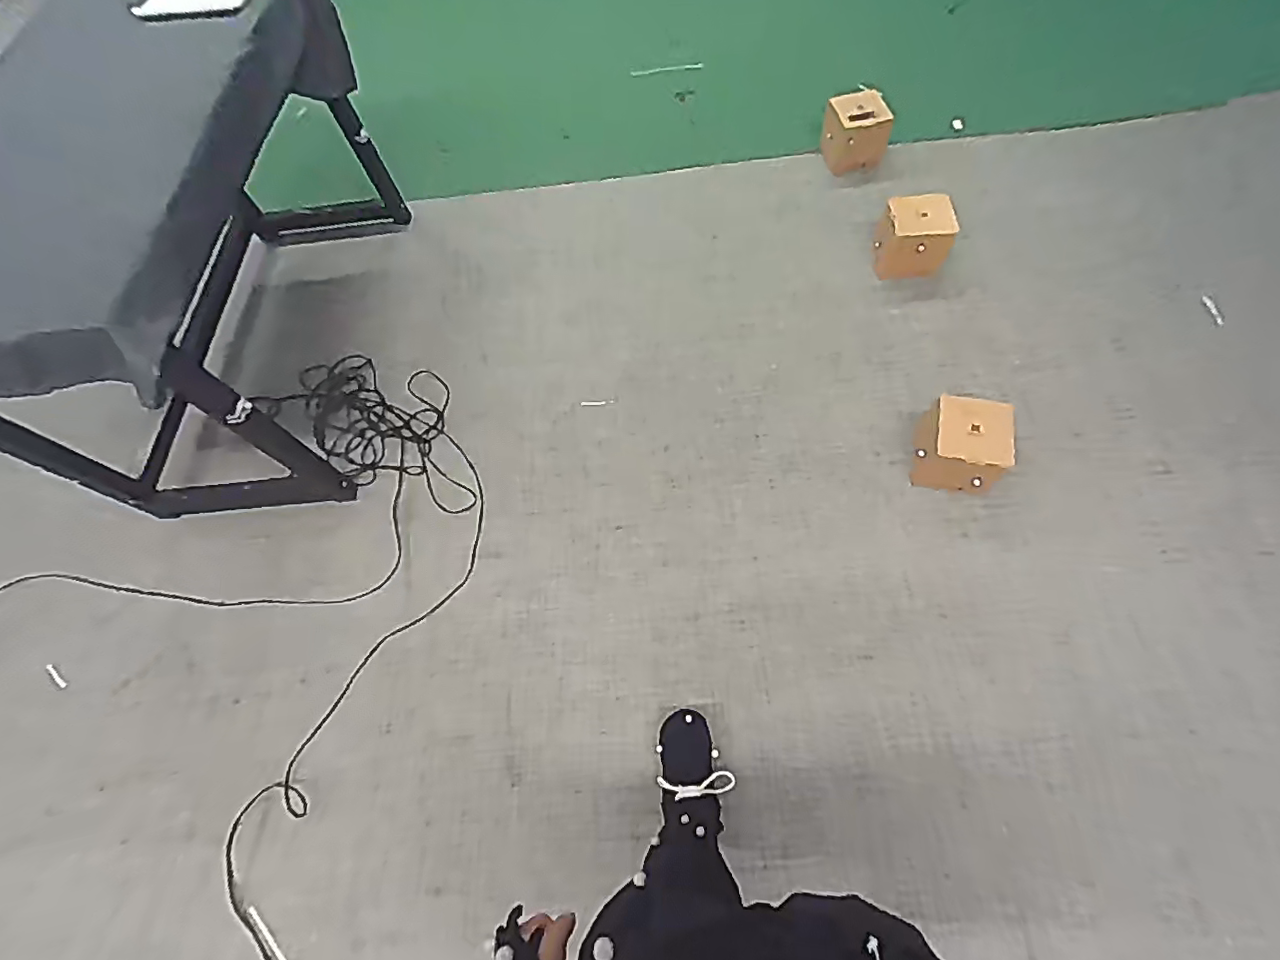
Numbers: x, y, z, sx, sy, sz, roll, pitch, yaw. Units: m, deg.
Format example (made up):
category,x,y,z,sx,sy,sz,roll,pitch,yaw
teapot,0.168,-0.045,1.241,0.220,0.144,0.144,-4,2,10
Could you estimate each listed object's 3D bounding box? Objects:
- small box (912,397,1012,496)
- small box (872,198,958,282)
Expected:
category,x,y,z,sx,sy,sz,roll,pitch,yaw
small box,0.790,-0.078,1.338,0.168,0.176,0.179,11,65,10
small box,0.831,-0.727,1.649,0.179,0.176,0.168,-1,64,6
